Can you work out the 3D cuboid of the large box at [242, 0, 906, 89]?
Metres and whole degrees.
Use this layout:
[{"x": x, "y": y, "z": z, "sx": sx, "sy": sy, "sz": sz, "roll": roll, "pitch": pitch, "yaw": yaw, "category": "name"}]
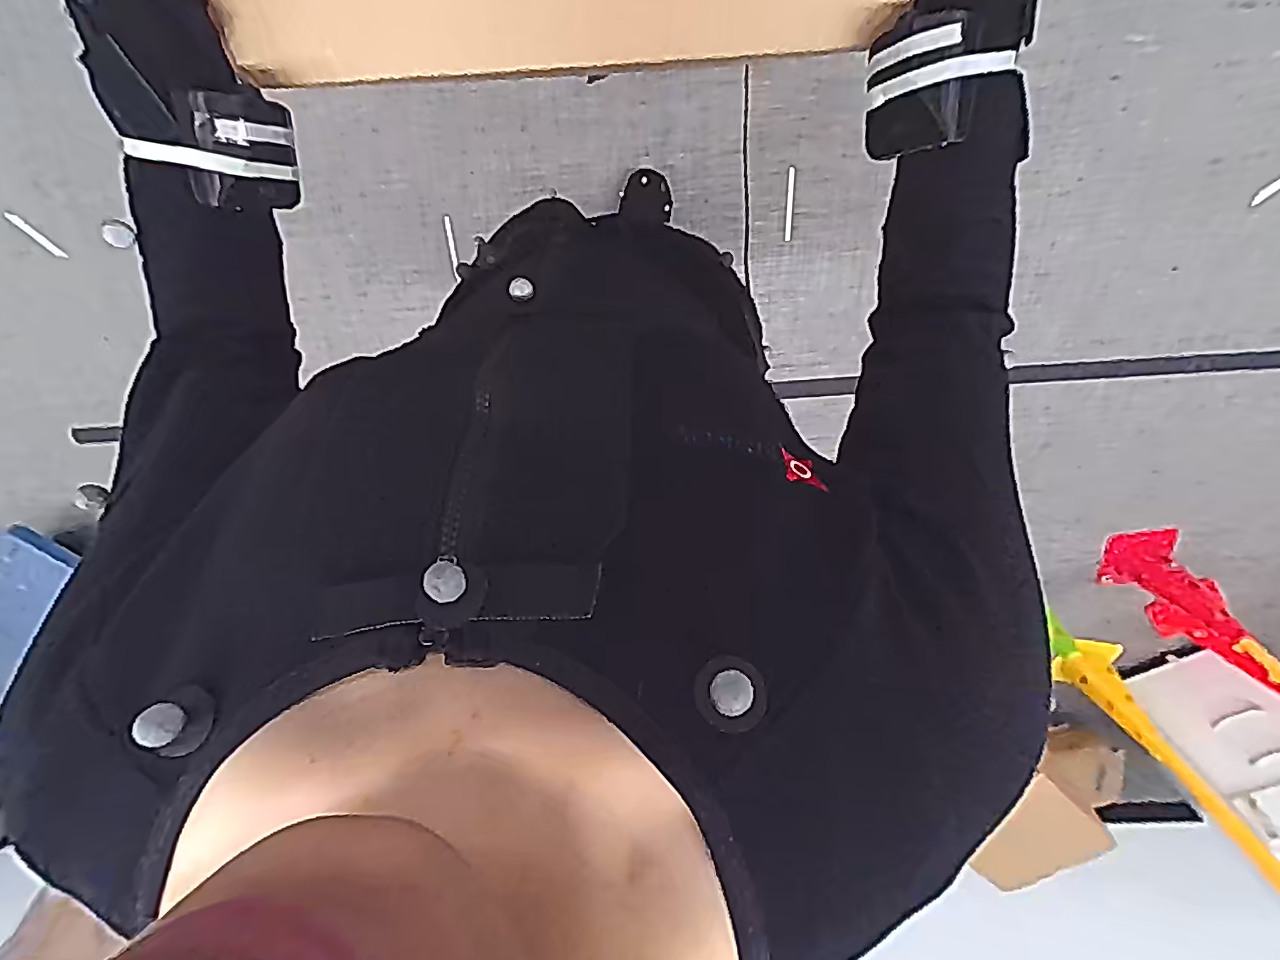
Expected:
[{"x": -0.049, "y": -0.475, "z": 0.370, "sx": 0.408, "sy": 0.320, "sz": 0.320, "roll": -3, "pitch": 126, "yaw": 1, "category": "large box"}]
